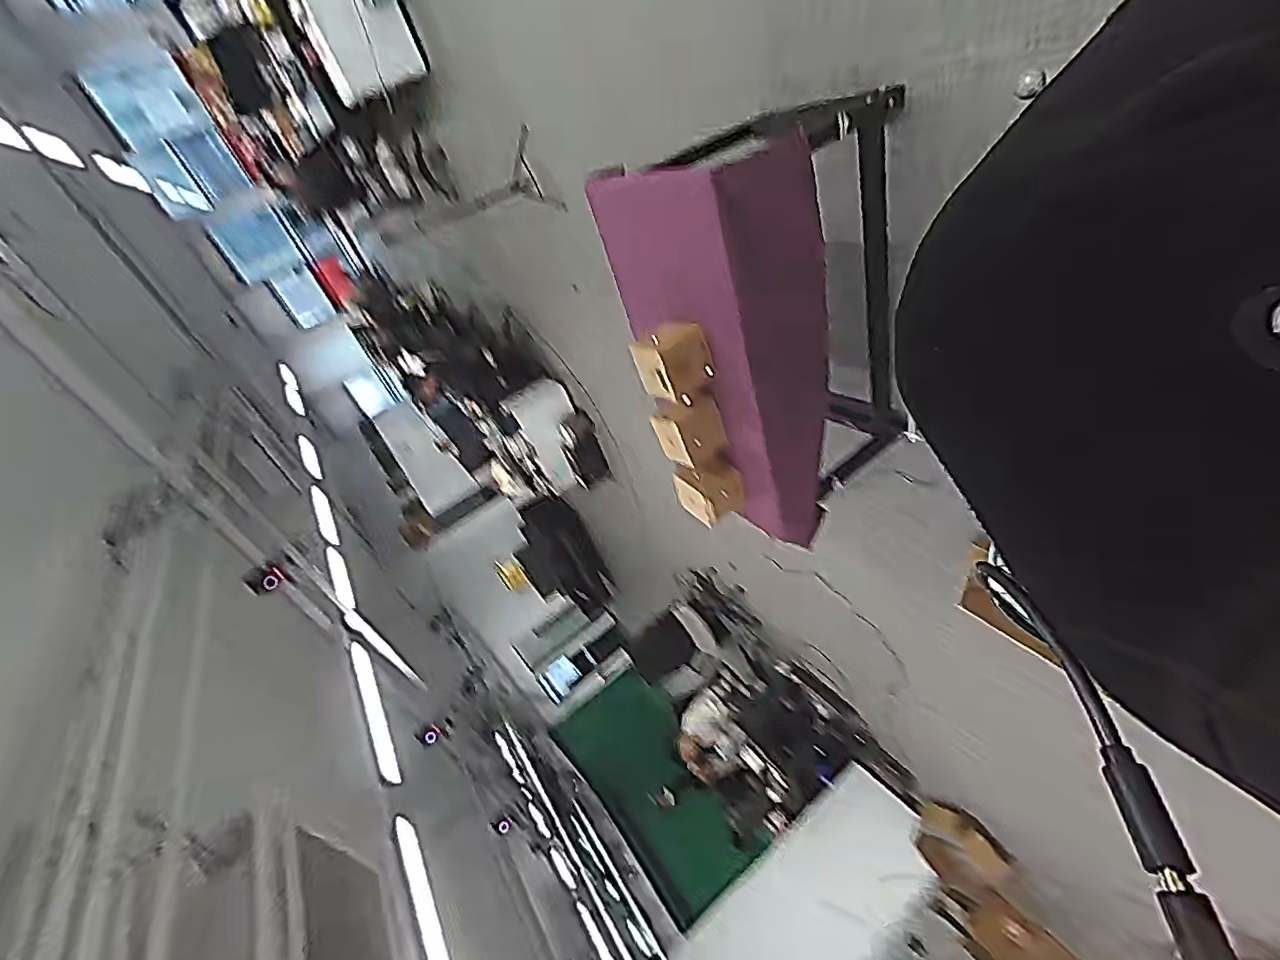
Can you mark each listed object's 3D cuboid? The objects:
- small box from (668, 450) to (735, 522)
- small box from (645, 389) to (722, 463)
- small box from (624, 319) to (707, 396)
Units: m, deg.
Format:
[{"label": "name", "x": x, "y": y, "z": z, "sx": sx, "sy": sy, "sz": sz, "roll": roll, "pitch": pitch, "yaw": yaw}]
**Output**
[{"label": "small box", "x": 0.233, "y": 0.016, "z": 1.969, "sx": 0.179, "sy": 0.176, "sz": 0.168, "roll": 37, "pitch": 154, "yaw": 44}, {"label": "small box", "x": 0.151, "y": -0.186, "z": 1.826, "sx": 0.168, "sy": 0.176, "sz": 0.179, "roll": 25, "pitch": 145, "yaw": 56}, {"label": "small box", "x": 0.086, "y": -0.381, "z": 1.657, "sx": 0.179, "sy": 0.176, "sz": 0.168, "roll": 31, "pitch": 150, "yaw": 53}]
